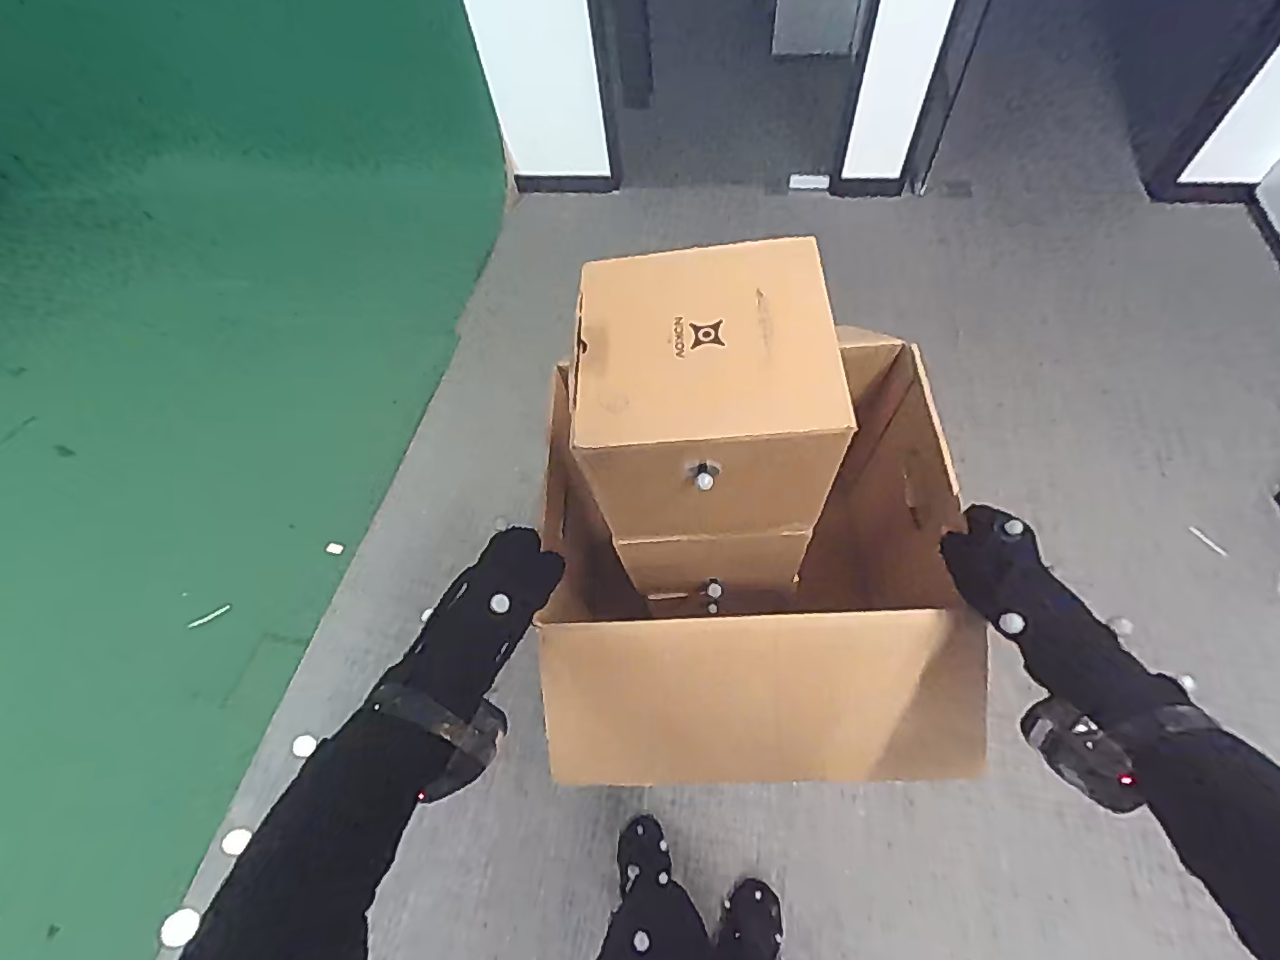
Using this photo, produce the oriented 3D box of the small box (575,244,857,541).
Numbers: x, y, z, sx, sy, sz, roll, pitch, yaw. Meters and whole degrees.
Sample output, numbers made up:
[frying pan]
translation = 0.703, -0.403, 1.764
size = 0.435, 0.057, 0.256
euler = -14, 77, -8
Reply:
[small box]
translation = 0.053, -0.056, 0.437
size = 0.179, 0.176, 0.168
euler = -5, 63, 5
